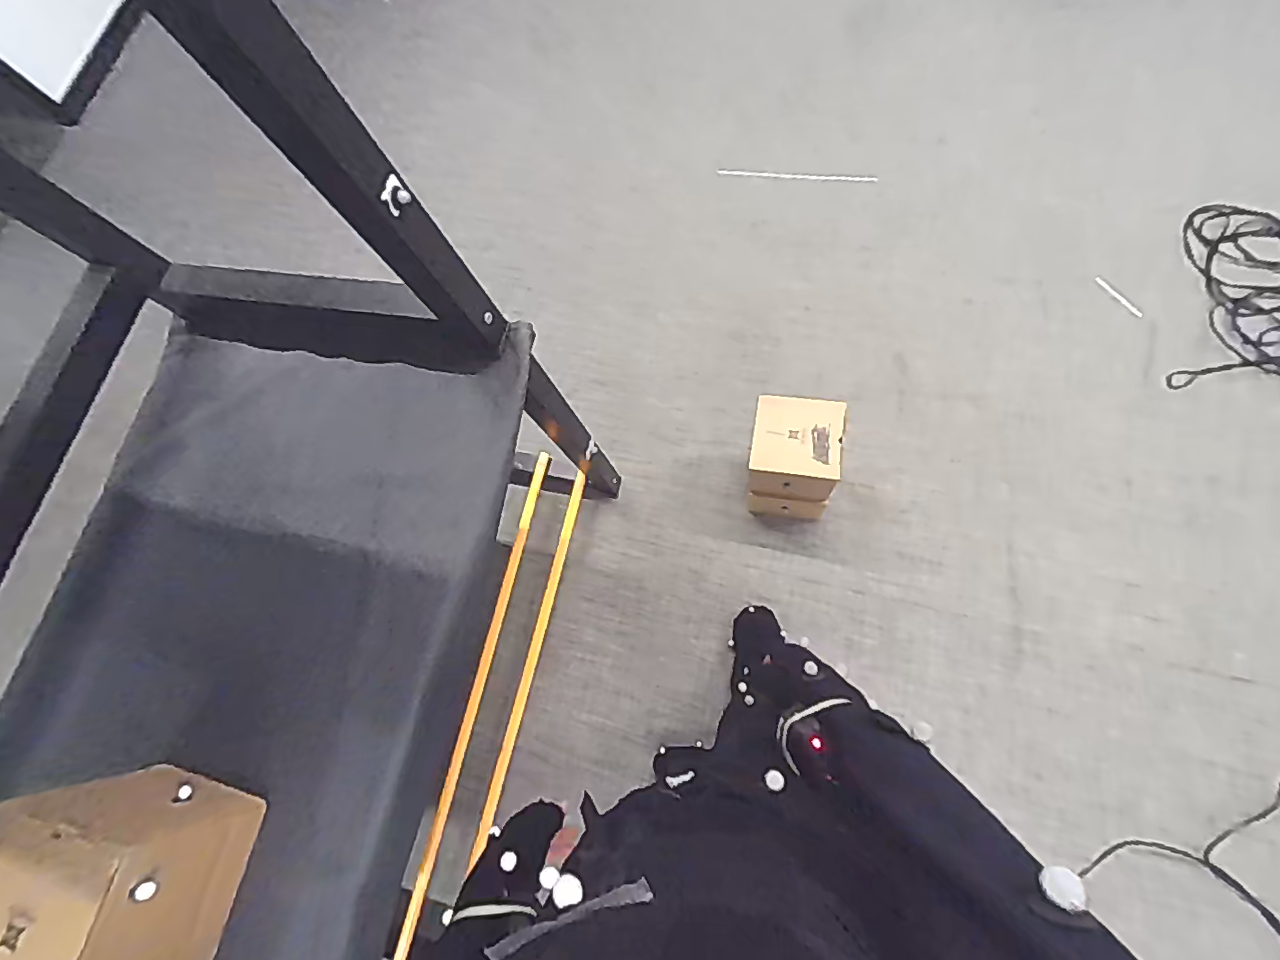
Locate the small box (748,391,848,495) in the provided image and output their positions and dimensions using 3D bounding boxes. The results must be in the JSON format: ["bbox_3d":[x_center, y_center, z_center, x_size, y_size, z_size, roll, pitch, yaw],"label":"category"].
[{"bbox_3d":[0.329,-0.072,1.146,0.179,0.176,0.168,7,76,14],"label":"small box"}]
